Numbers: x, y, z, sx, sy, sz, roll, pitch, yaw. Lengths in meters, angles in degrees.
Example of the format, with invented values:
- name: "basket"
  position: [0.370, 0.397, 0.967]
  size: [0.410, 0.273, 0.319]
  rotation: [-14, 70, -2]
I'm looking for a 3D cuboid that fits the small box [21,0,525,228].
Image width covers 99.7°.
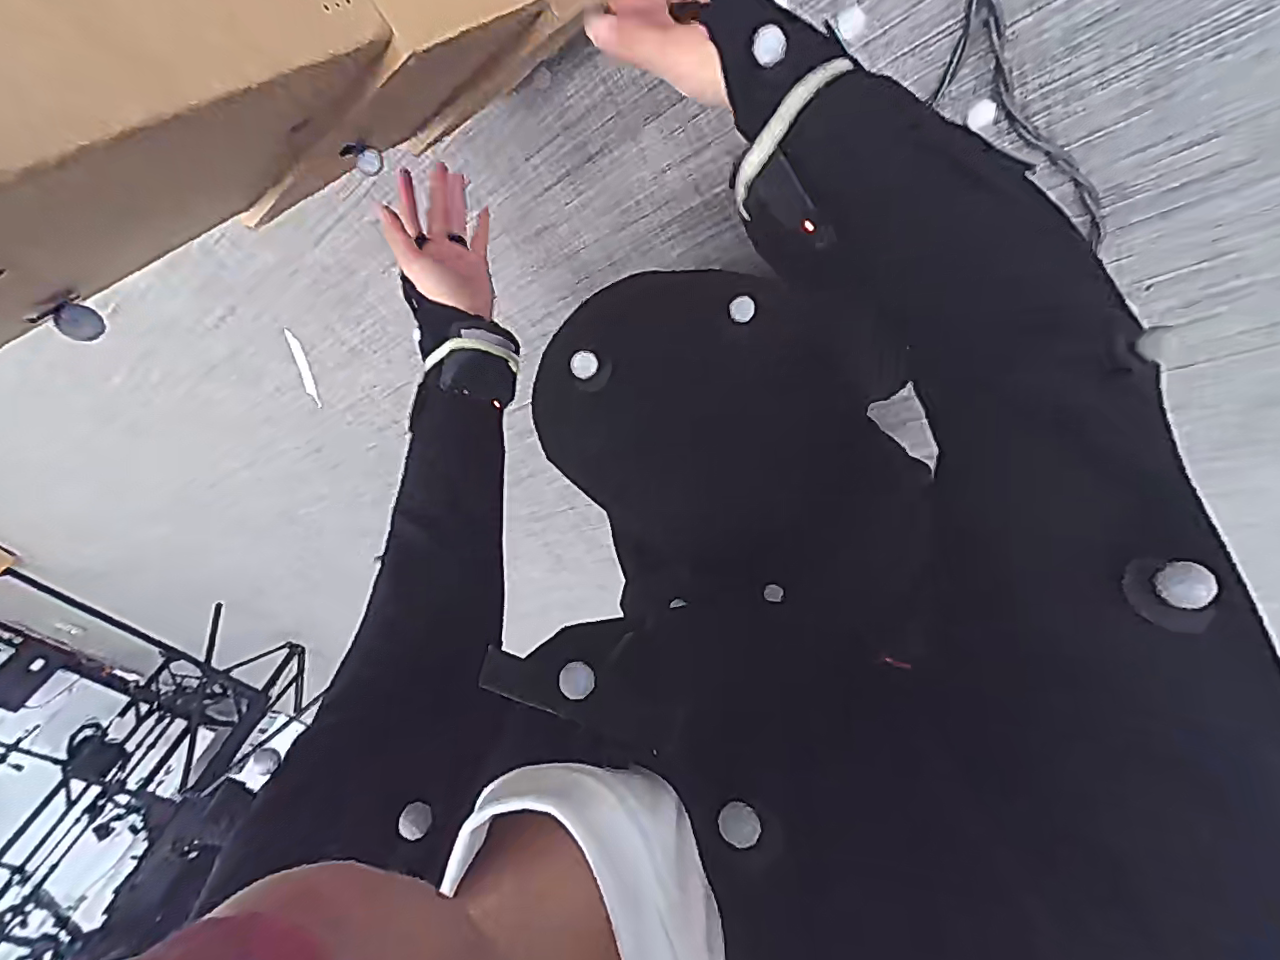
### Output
- name: "small box"
  position: [-0.185, -0.279, 0.286]
  size: [0.179, 0.176, 0.168]
  rotation: [-13, 131, 35]

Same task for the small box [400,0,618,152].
- name: "small box"
  position: [-0.138, -0.391, 0.394]
  size: [0.168, 0.176, 0.179]
  rotation: [-13, 132, 34]
